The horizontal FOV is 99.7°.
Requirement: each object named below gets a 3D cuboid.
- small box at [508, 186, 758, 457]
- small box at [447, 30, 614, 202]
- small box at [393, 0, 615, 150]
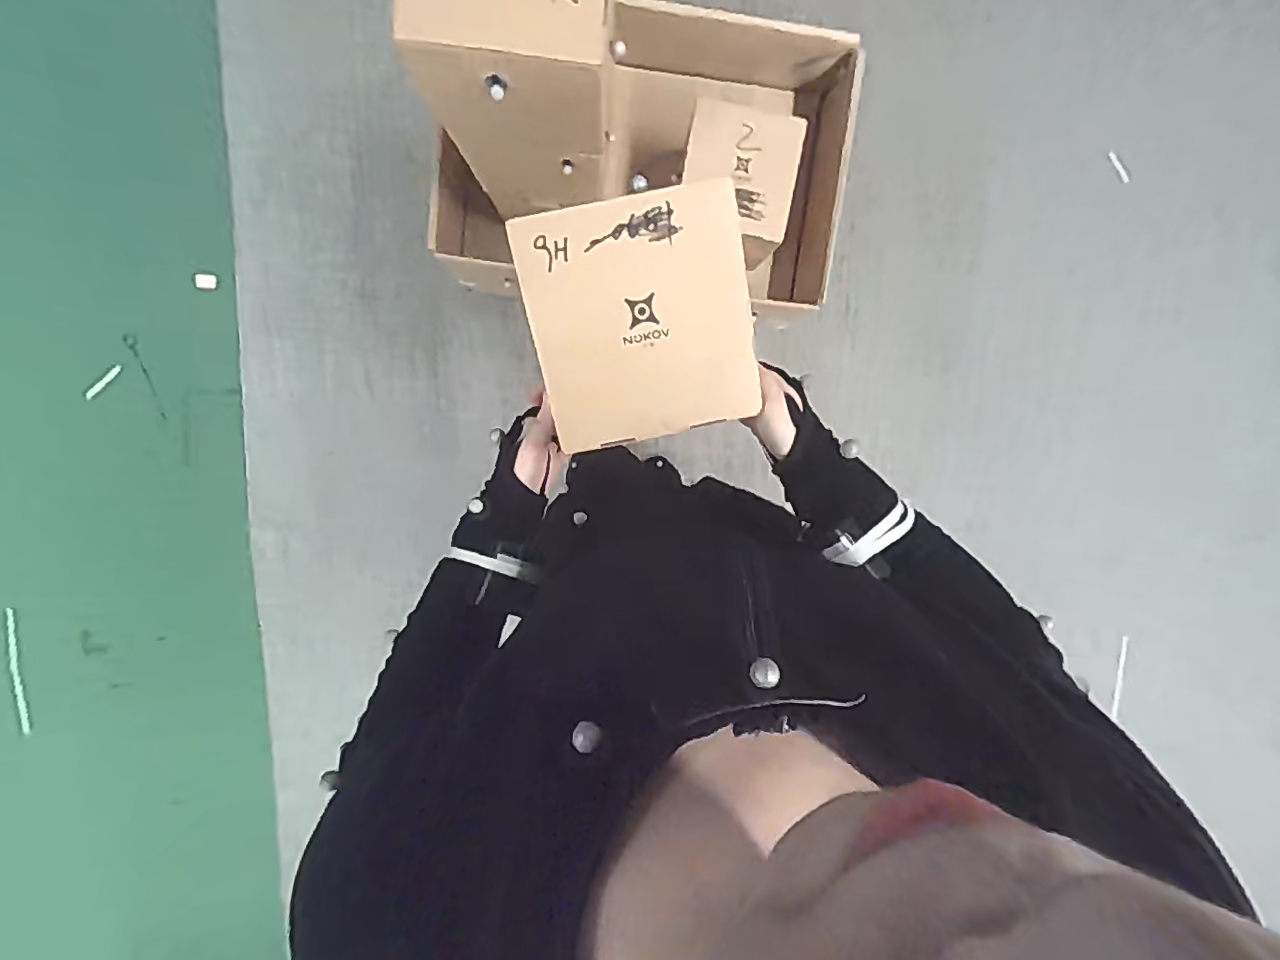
[{"bbox_3d":[-0.005,-0.138,0.482,0.168,0.176,0.179,-12,109,-2],"label":"small box"},{"bbox_3d":[-0.129,-0.475,0.687,0.179,0.176,0.168,5,98,-5],"label":"small box"},{"bbox_3d":[-0.117,-0.449,0.524,0.179,0.176,0.168,5,98,-5],"label":"small box"}]
